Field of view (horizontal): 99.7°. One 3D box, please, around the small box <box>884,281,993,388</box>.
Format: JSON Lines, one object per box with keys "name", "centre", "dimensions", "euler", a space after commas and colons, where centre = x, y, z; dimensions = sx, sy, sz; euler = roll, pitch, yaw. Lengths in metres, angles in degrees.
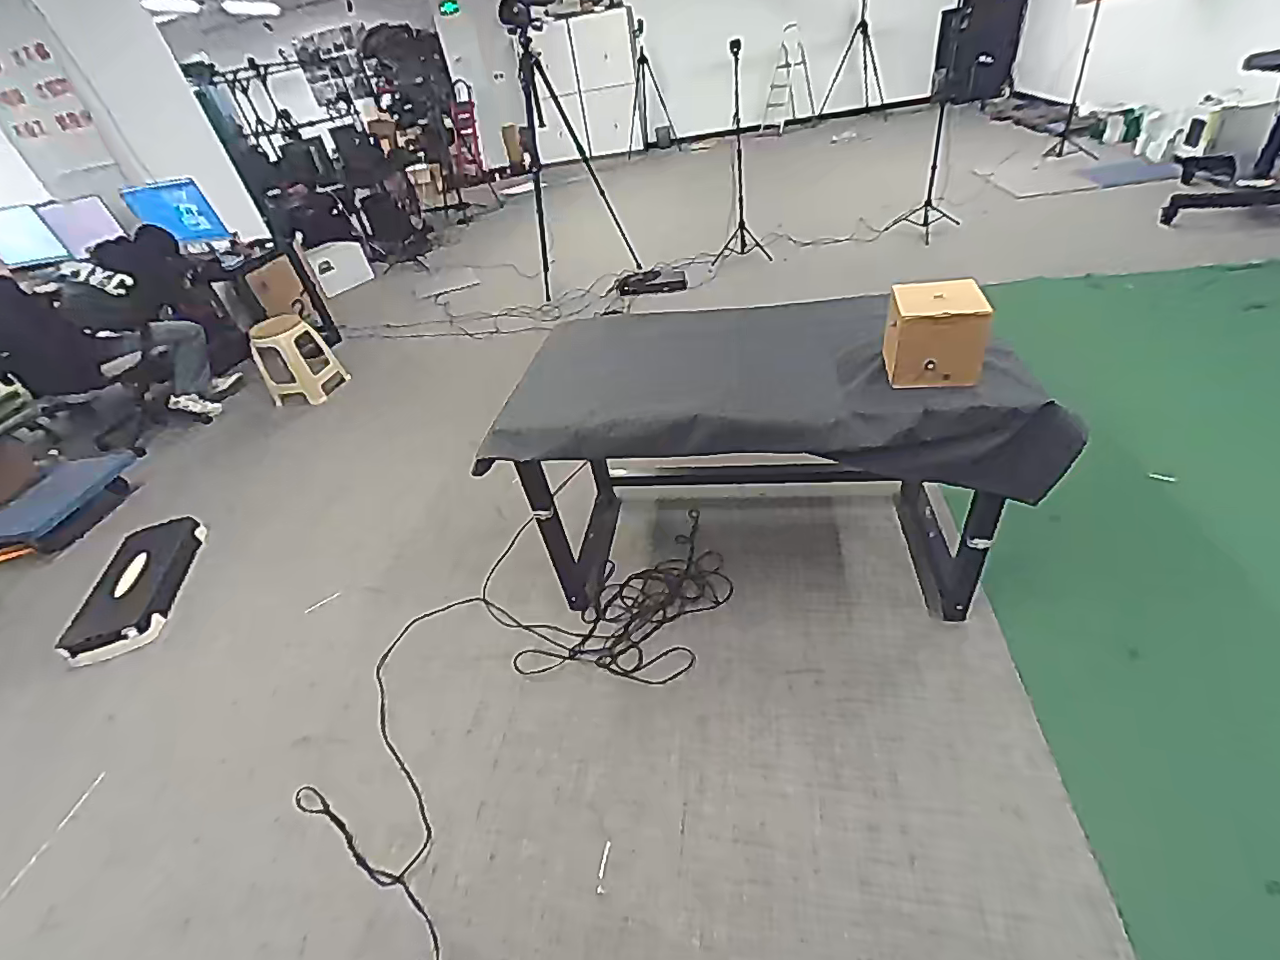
{"name": "small box", "centre": [0.637, -0.316, 1.178], "dimensions": [0.168, 0.176, 0.179], "euler": [1, 40, 16]}
